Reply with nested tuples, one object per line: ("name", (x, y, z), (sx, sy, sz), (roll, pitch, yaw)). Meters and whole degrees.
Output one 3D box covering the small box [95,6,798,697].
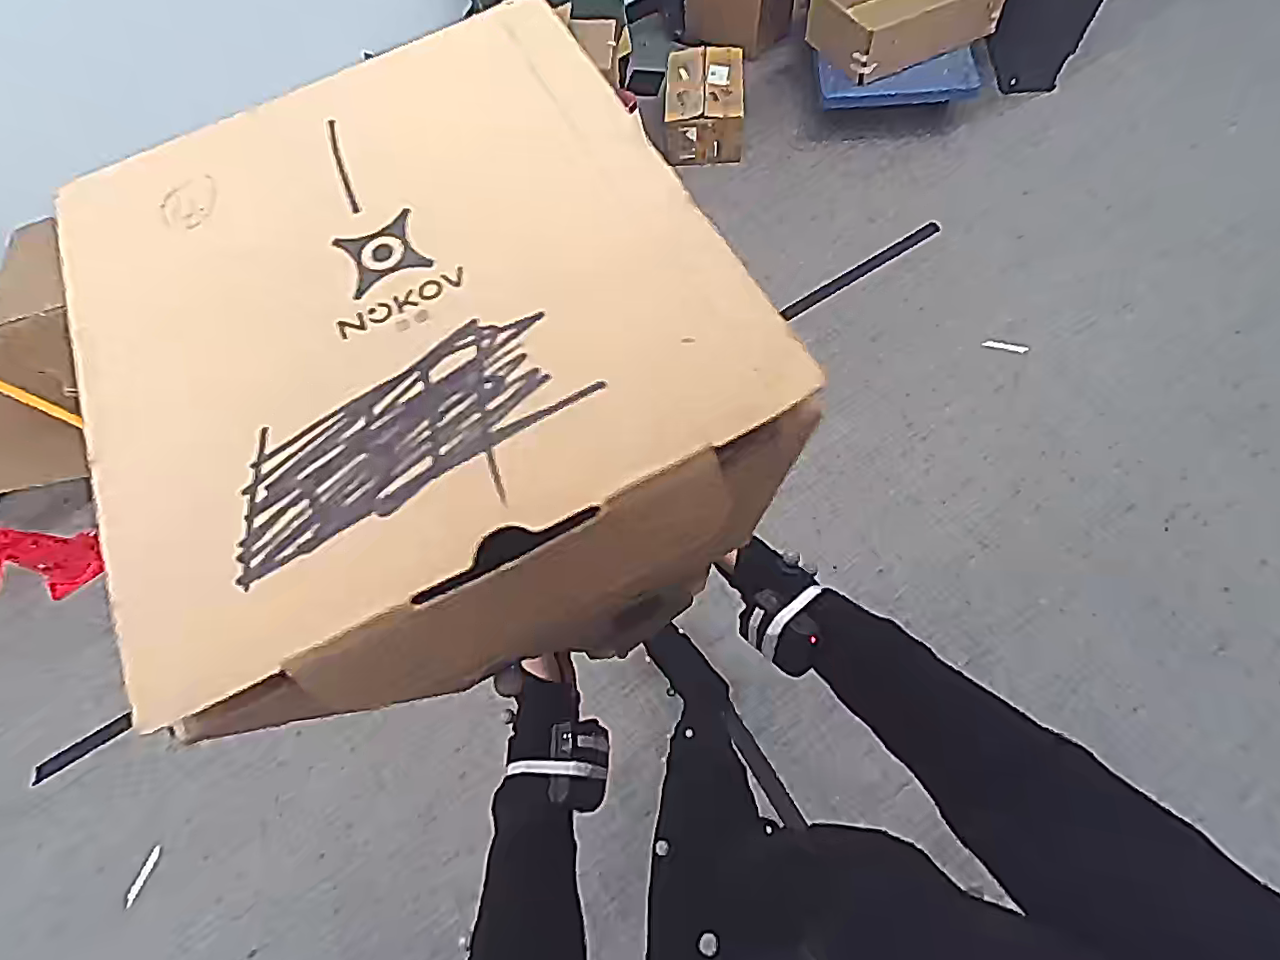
("small box", (-0.061, -0.032, 0.232), (0.168, 0.176, 0.179), (-27, 72, -5))
